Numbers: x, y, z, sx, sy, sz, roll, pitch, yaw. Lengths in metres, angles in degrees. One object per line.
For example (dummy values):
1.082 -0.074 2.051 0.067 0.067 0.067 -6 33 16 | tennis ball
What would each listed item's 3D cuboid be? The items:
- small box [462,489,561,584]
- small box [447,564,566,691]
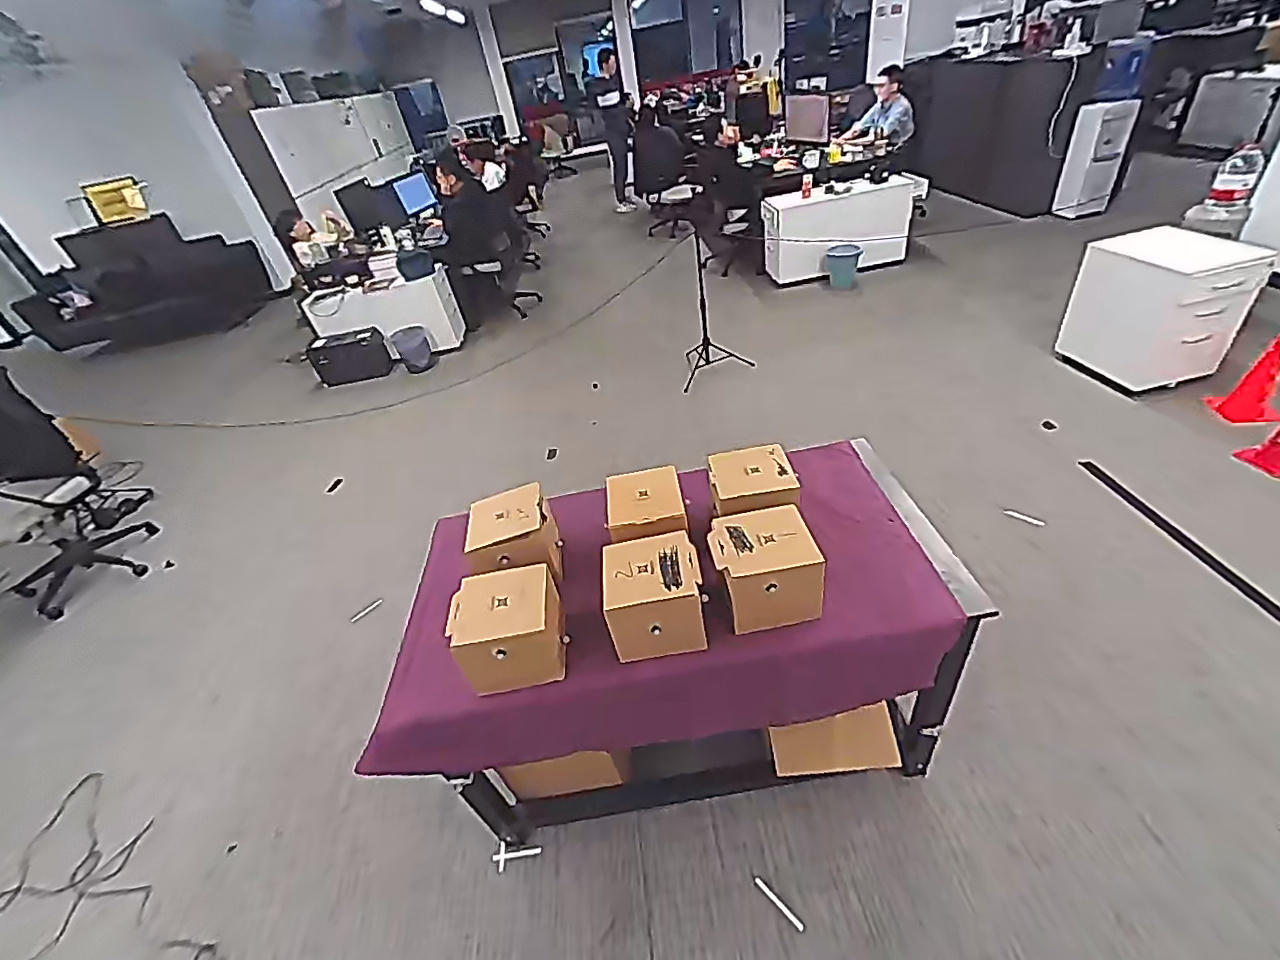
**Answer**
-0.290 0.149 1.257 0.179 0.176 0.168 -12 39 -1 | small box
-0.253 0.294 1.068 0.179 0.176 0.168 -10 38 1 | small box
